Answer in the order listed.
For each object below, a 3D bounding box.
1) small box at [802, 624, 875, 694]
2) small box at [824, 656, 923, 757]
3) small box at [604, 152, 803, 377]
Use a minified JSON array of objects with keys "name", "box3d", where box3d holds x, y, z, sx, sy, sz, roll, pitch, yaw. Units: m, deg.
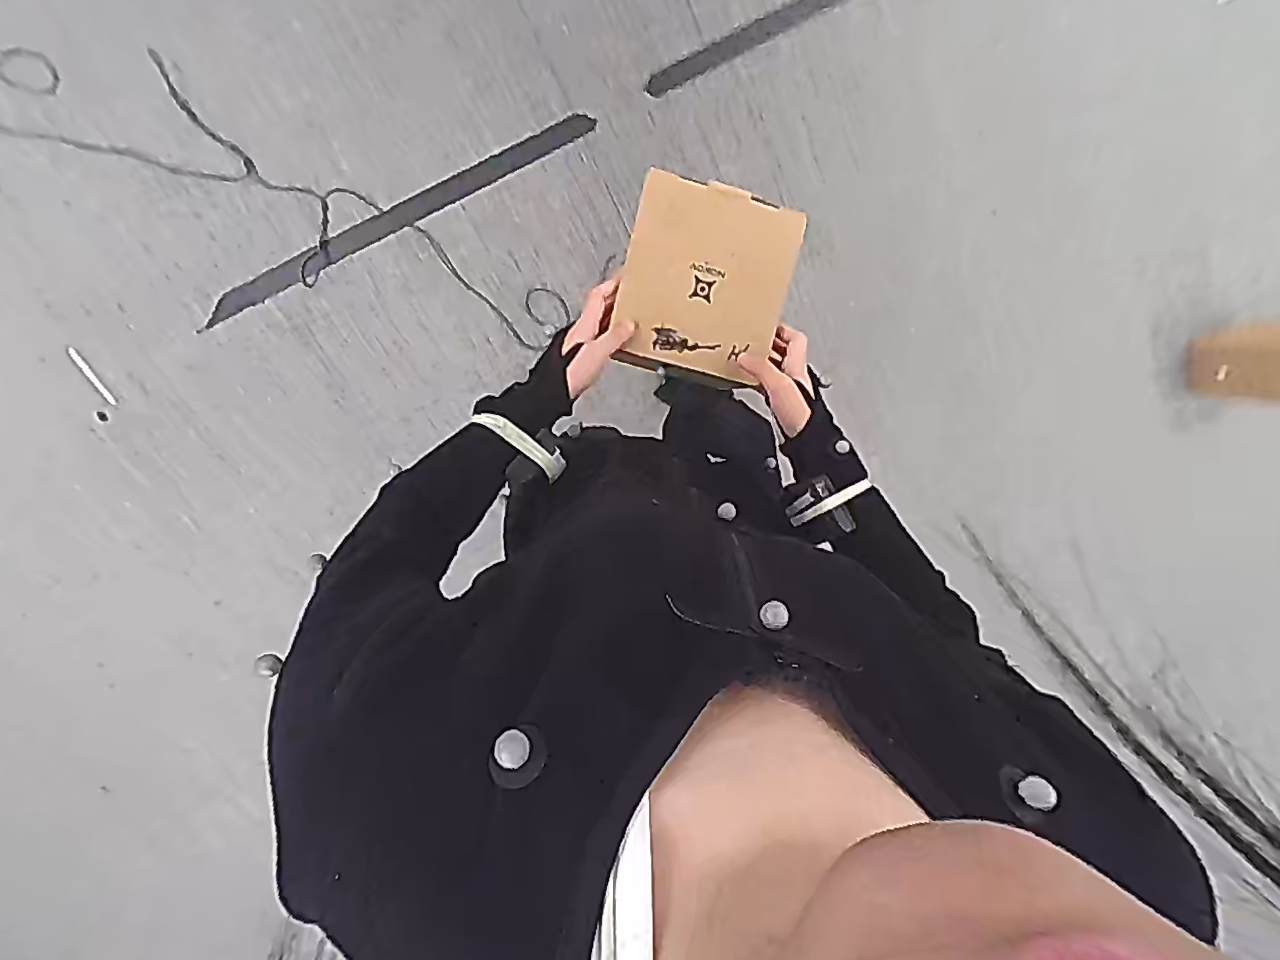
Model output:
[{"name":"small box","box3d":[0.630,0.573,1.673,0.168,0.176,0.179,-31,109,3]},{"name":"small box","box3d":[0.646,0.622,1.517,0.168,0.176,0.179,-31,109,2]},{"name":"small box","box3d":[0.058,-0.223,0.611,0.168,0.176,0.179,14,98,-4]}]
